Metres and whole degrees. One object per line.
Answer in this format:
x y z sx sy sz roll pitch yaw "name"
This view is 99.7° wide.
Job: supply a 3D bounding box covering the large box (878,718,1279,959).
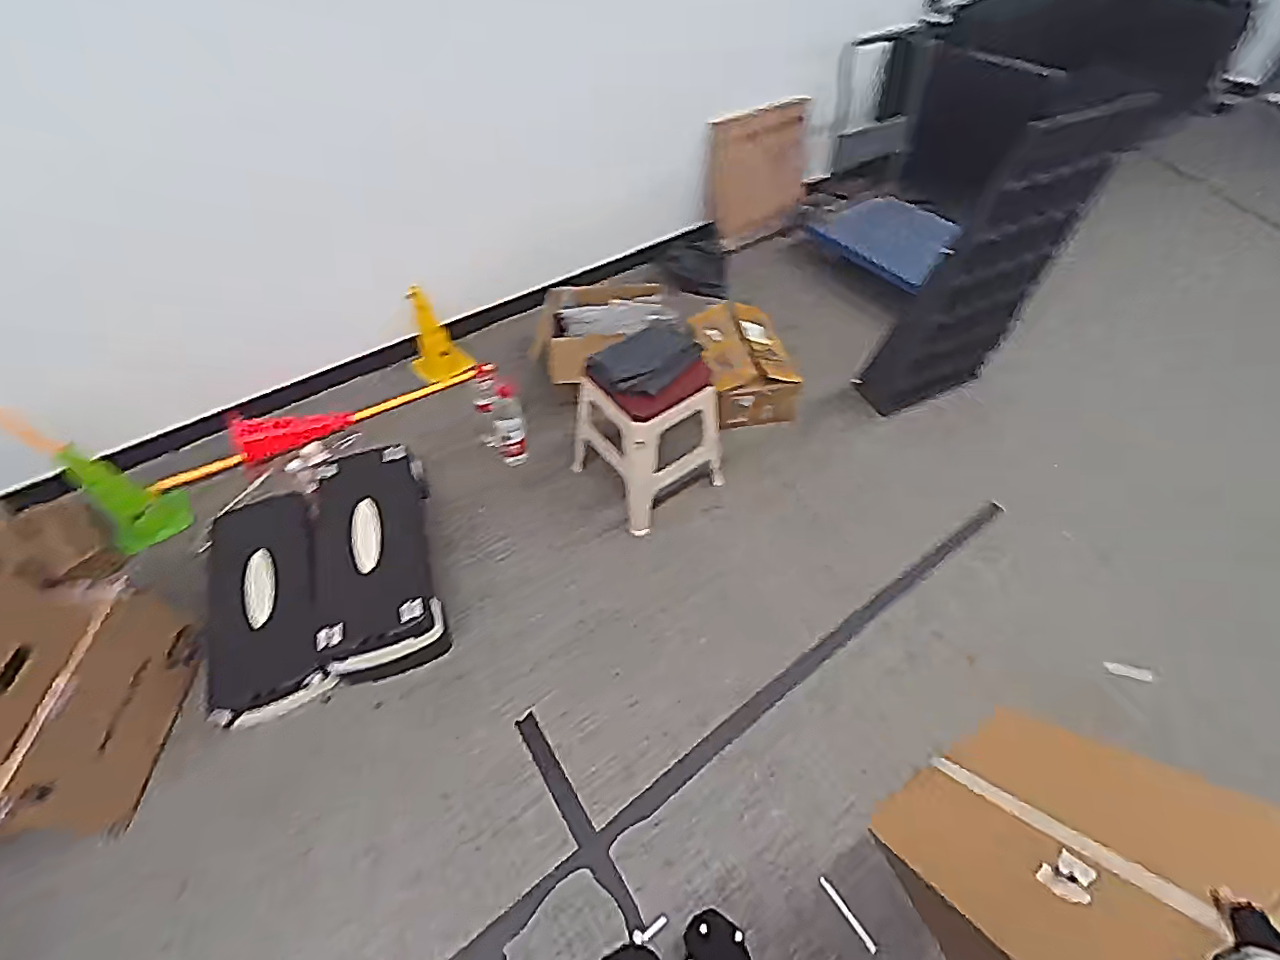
0.601 0.577 0.674 0.320 0.408 0.320 -31 91 -11 "large box"
